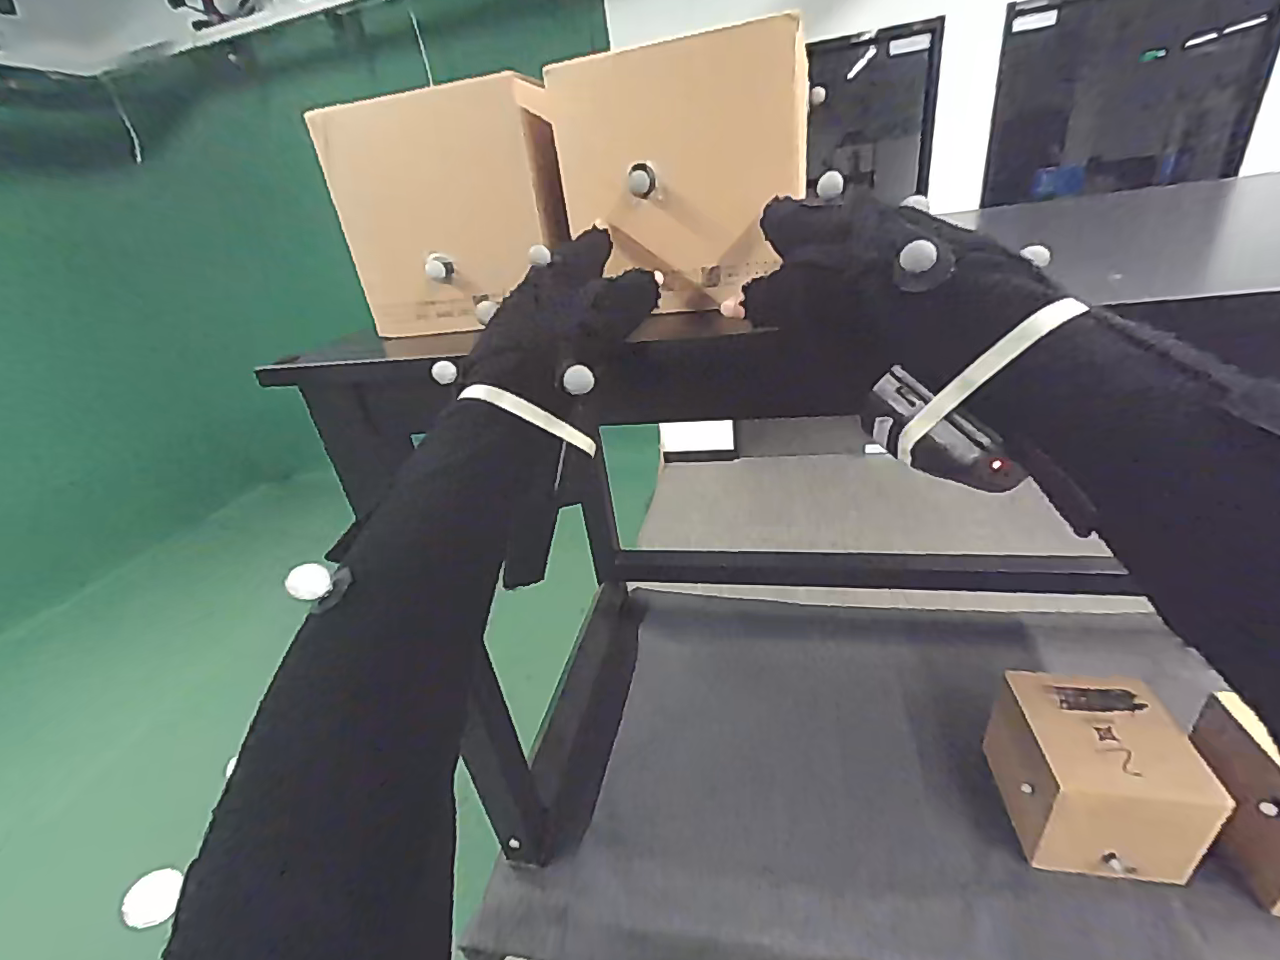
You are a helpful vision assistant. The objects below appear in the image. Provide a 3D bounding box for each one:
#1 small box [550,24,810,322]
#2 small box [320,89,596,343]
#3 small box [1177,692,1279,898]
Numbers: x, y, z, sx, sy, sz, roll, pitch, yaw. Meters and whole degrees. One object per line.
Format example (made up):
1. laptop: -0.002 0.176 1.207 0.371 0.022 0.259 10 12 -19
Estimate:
1. small box: 0.050 -0.230 0.442 0.168 0.176 0.179 1 28 18
2. small box: -0.134 -0.229 0.489 0.168 0.176 0.179 -1 29 13
3. small box: 0.804 0.380 0.636 0.168 0.176 0.179 -2 27 13
